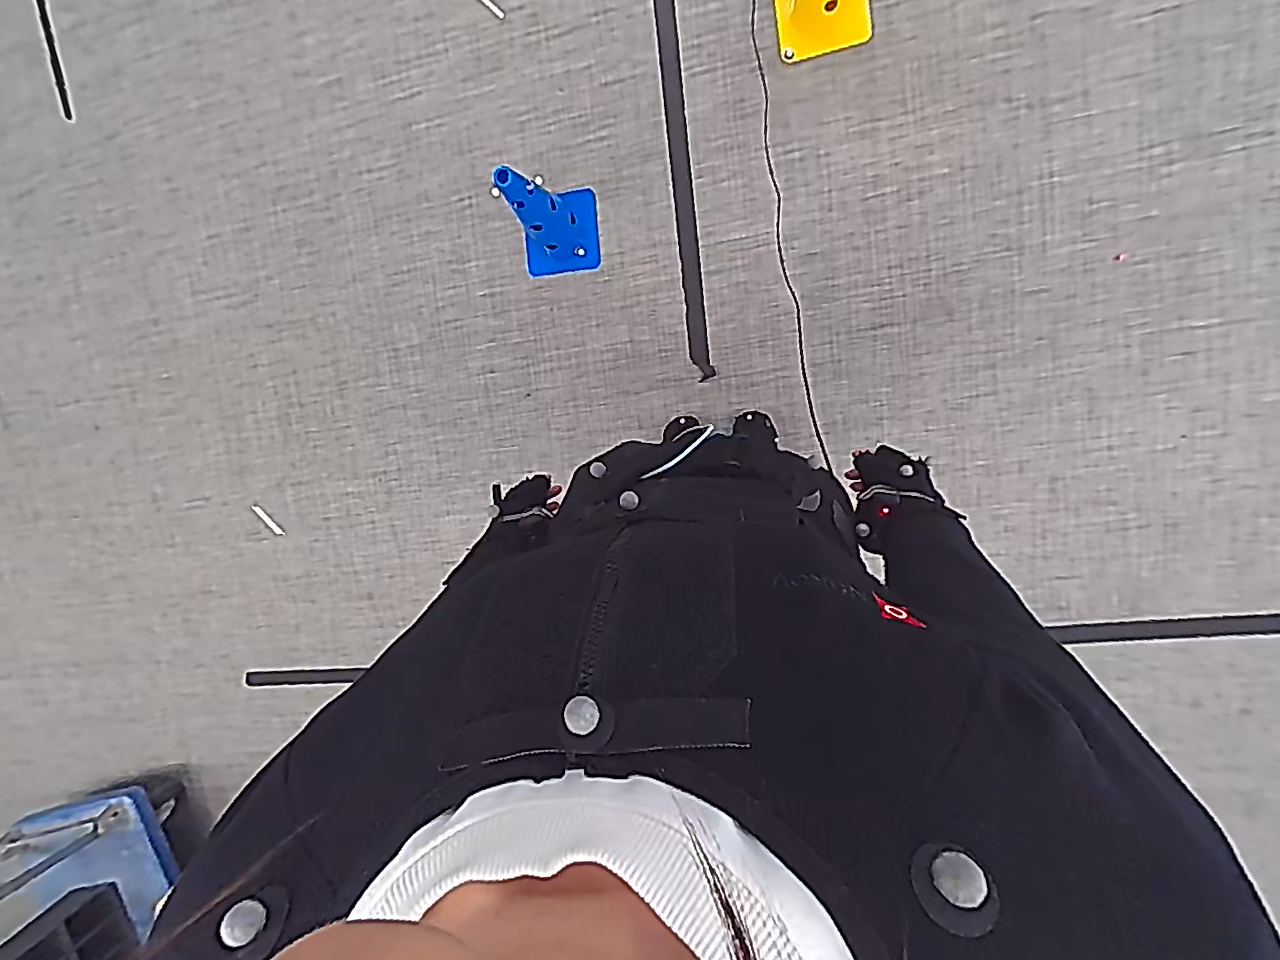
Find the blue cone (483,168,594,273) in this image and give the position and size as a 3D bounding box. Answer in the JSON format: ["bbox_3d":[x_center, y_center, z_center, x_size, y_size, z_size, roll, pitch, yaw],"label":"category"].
[{"bbox_3d":[-0.246,-0.625,1.247,0.192,0.380,0.193,-1,97,12],"label":"blue cone"}]
